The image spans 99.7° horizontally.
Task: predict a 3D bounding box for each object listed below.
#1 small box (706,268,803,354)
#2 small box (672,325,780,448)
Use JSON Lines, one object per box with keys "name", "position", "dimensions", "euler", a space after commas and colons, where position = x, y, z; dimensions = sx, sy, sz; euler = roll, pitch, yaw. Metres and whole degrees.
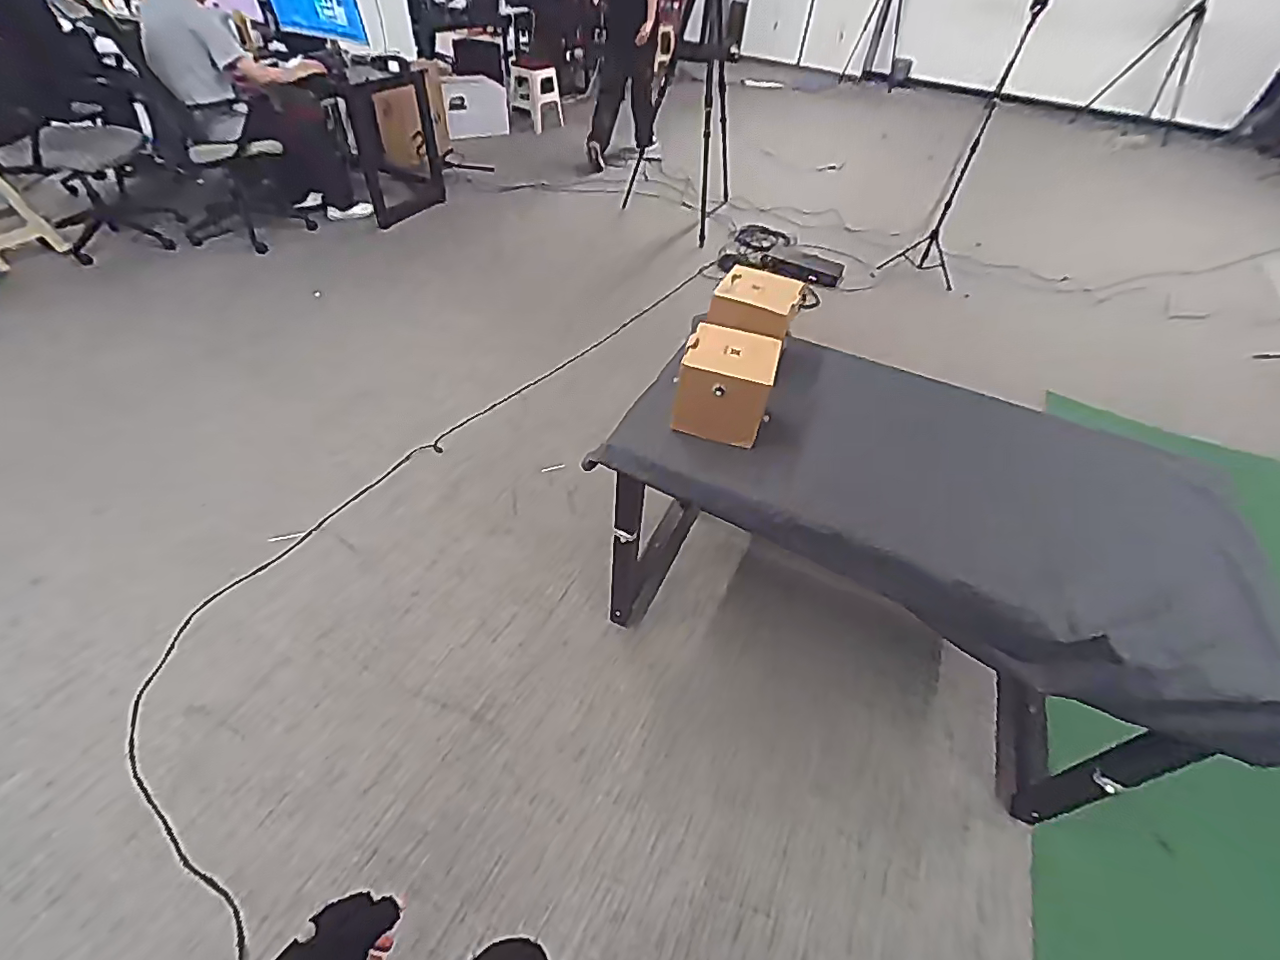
{"name": "small box", "position": [0.265, -0.376, 1.297], "dimensions": [0.179, 0.176, 0.168], "euler": [22, 49, 14]}
{"name": "small box", "position": [0.173, -0.190, 1.113], "dimensions": [0.179, 0.176, 0.168], "euler": [16, 48, 7]}
